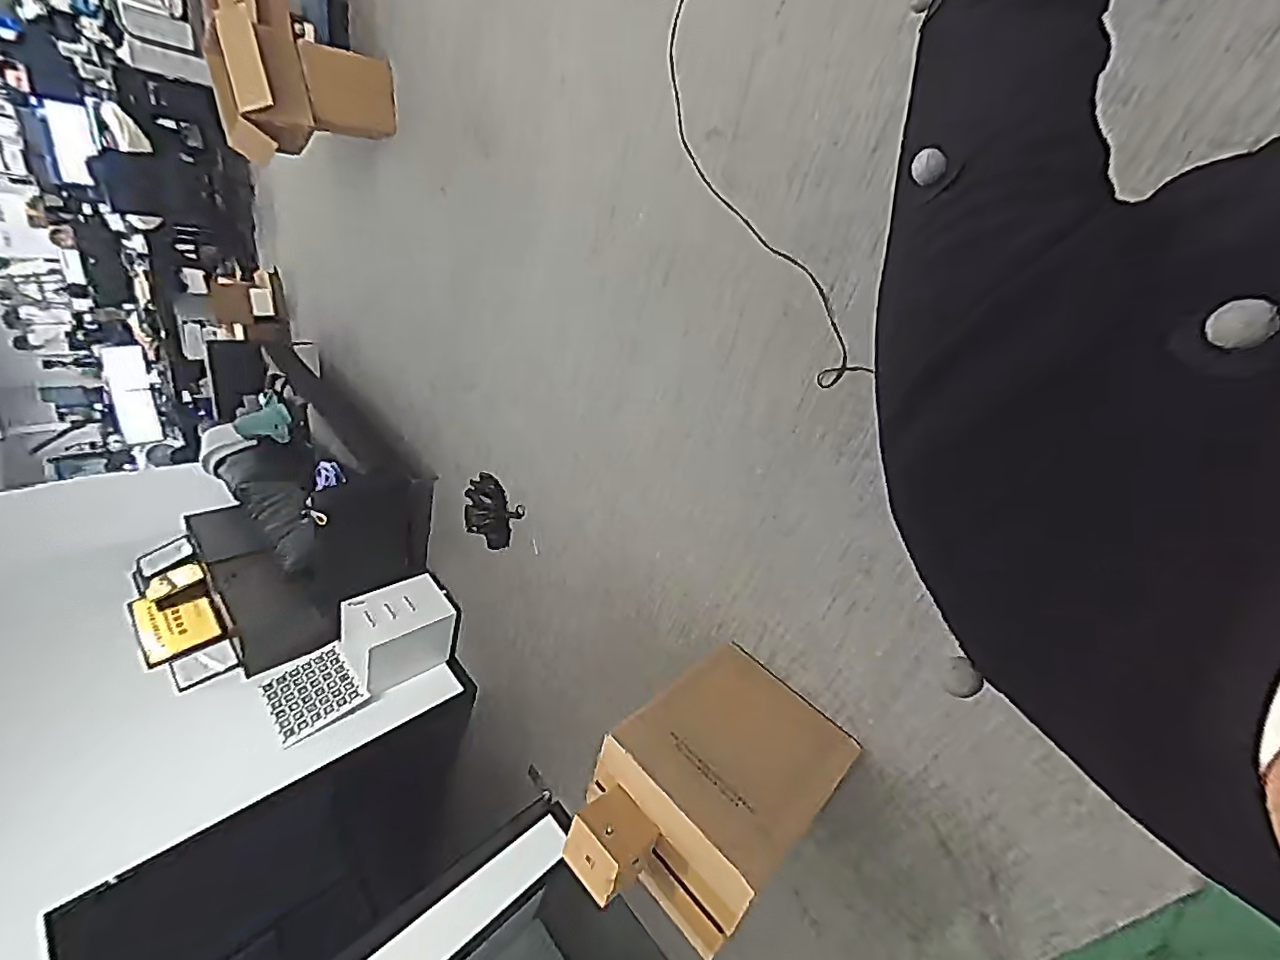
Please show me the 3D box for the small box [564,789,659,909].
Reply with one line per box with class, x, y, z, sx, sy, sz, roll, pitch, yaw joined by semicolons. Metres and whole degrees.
small box;-0.075;0.991;1.470;0.179;0.176;0.168;31;113;36
